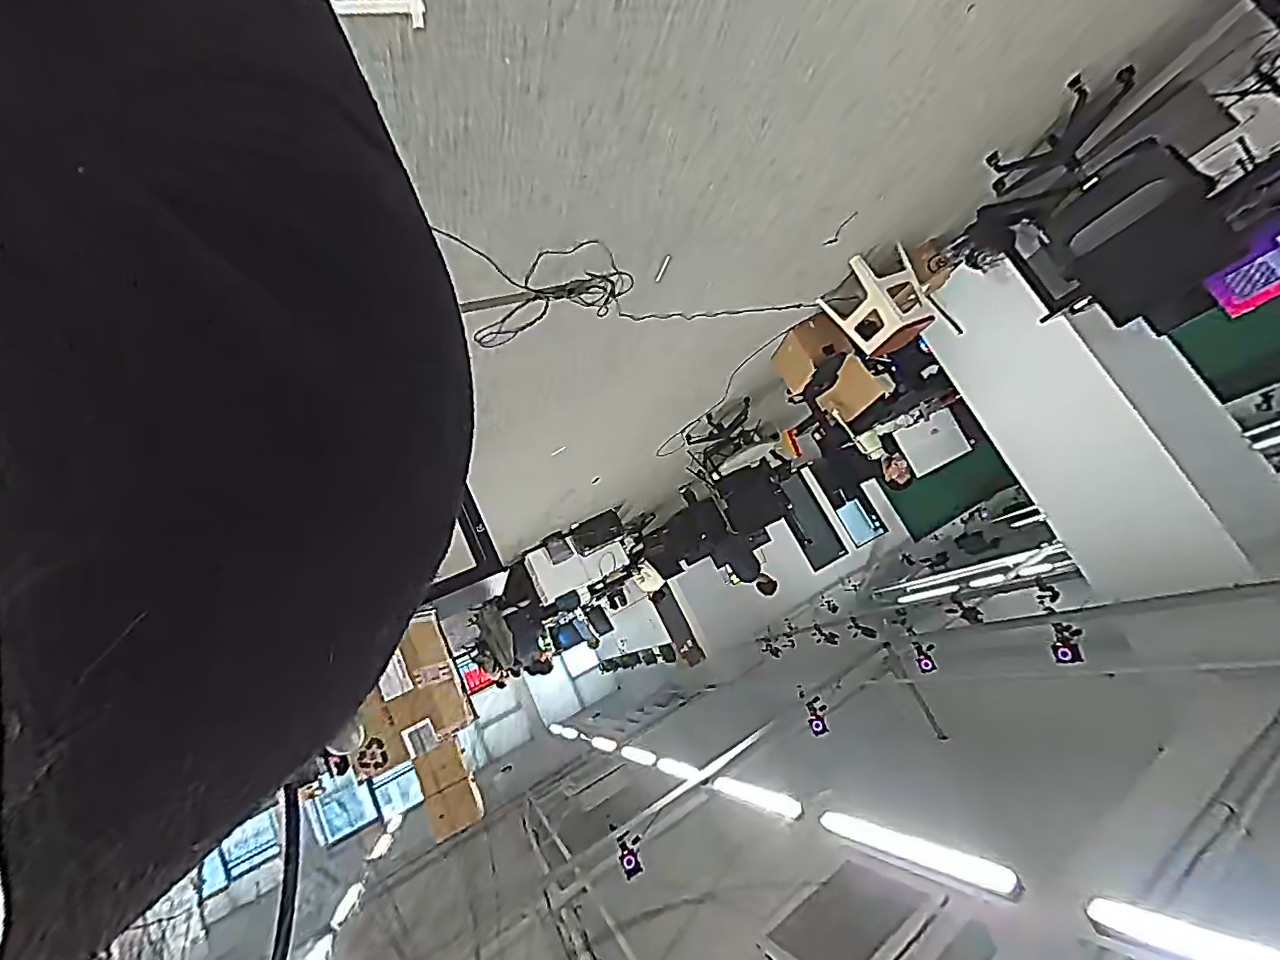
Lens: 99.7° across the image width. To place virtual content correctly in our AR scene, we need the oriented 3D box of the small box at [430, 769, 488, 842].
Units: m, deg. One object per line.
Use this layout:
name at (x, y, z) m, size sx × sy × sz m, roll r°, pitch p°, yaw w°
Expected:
small box at (-0.728, 1.298, 2.172) m, size 0.179 × 0.176 × 0.168 m, roll -23°, pitch 170°, yaw -18°

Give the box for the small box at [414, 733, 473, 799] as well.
small box at (-0.798, 1.154, 2.206) m, size 0.179 × 0.176 × 0.168 m, roll -22°, pitch 169°, yaw -20°
